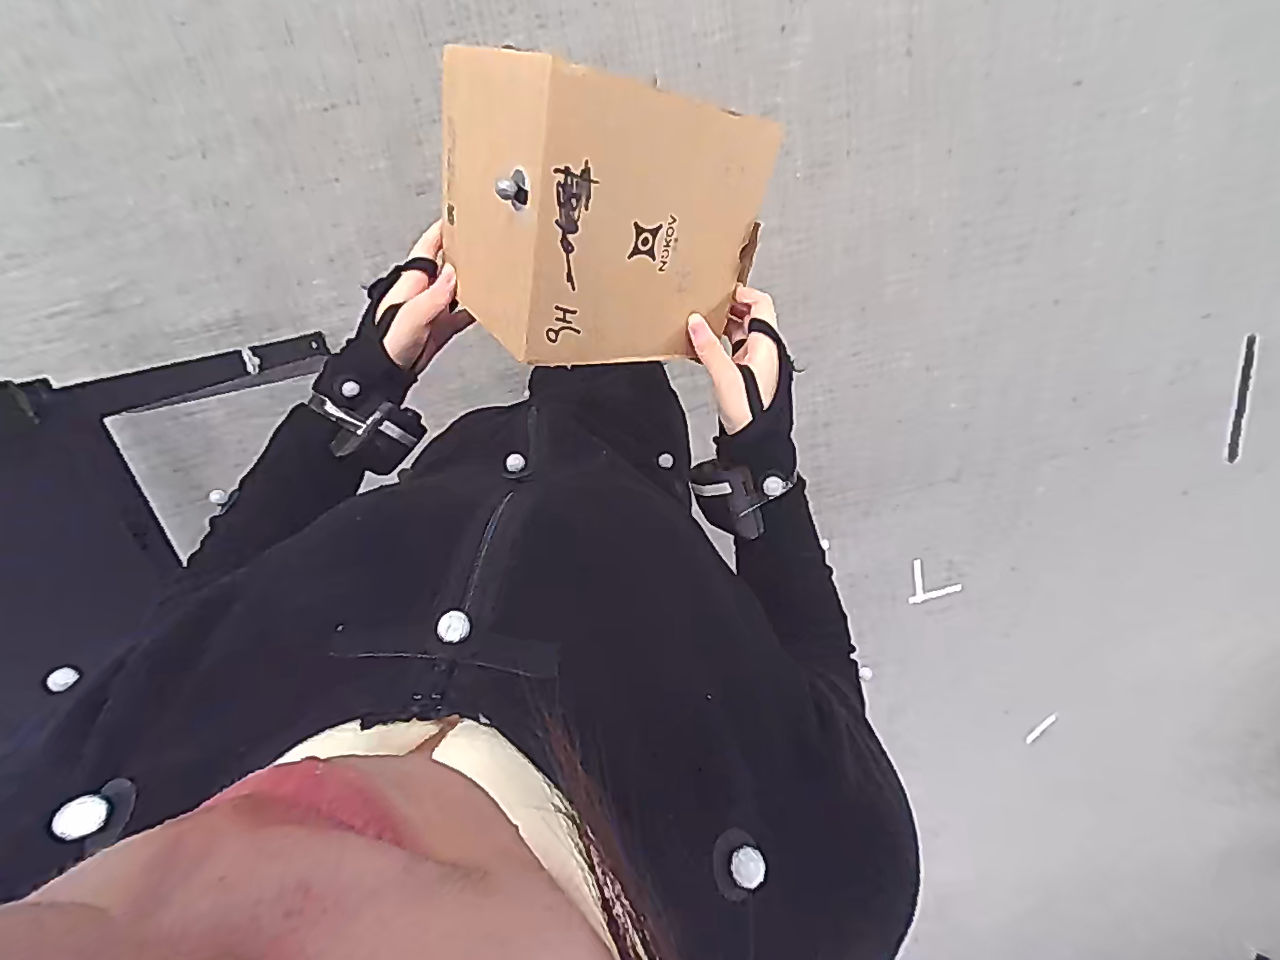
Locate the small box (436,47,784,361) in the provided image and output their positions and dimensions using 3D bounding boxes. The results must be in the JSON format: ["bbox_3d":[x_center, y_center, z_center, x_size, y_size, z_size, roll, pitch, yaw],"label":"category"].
[{"bbox_3d":[-0.034,-0.198,0.401,0.179,0.176,0.168,-11,128,-35],"label":"small box"}]
